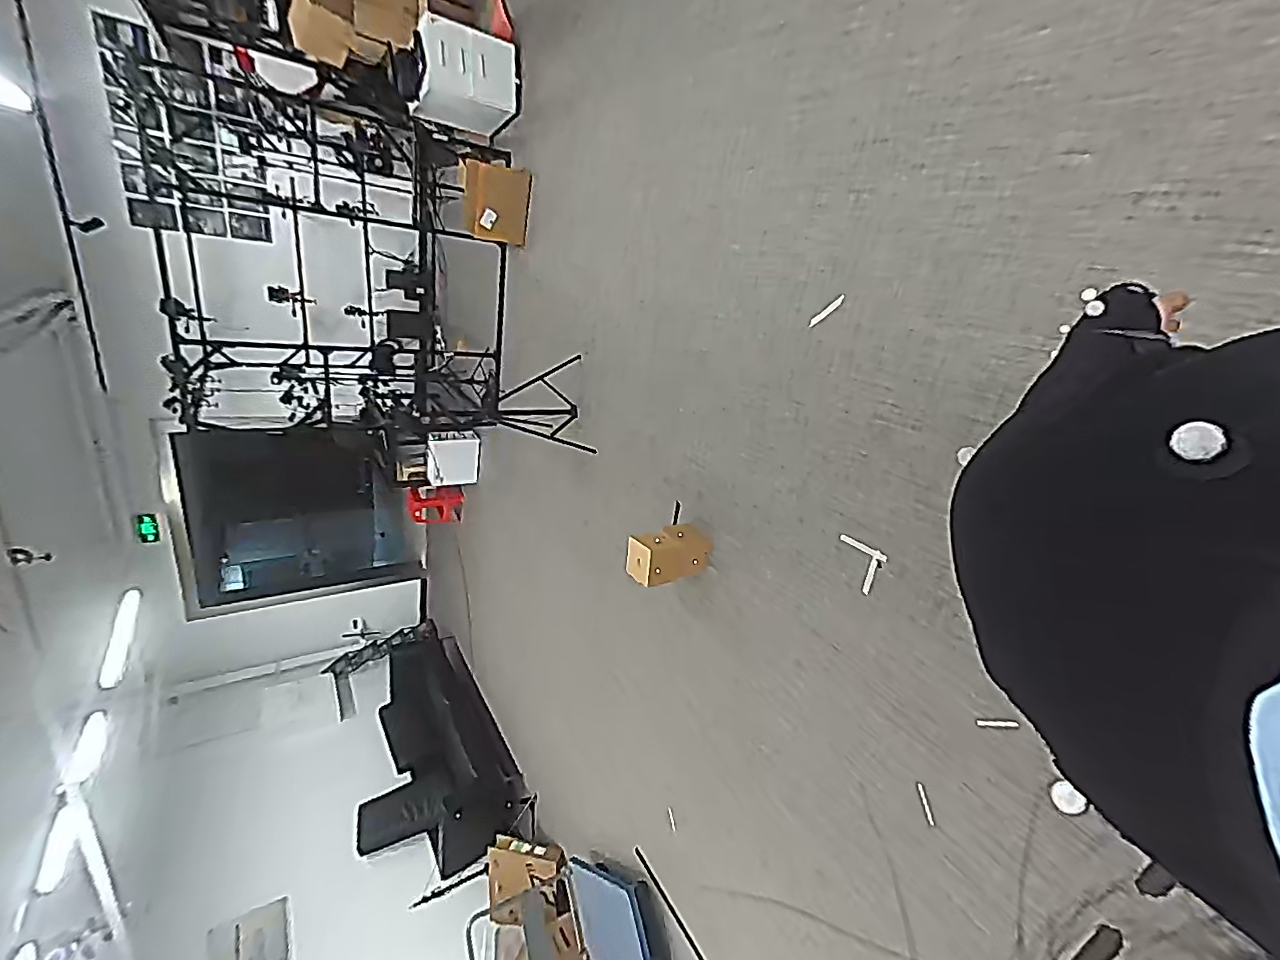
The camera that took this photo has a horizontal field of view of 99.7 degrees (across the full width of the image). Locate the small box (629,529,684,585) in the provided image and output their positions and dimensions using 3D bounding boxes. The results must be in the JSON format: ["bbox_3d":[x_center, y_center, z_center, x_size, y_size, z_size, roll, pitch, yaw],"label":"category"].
[{"bbox_3d":[0.072,0.324,2.329,0.168,0.176,0.179,27,118,51],"label":"small box"}]

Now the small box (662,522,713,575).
[{"bbox_3d":[0.202,0.300,2.423,0.179,0.176,0.168,39,126,47],"label":"small box"}]
